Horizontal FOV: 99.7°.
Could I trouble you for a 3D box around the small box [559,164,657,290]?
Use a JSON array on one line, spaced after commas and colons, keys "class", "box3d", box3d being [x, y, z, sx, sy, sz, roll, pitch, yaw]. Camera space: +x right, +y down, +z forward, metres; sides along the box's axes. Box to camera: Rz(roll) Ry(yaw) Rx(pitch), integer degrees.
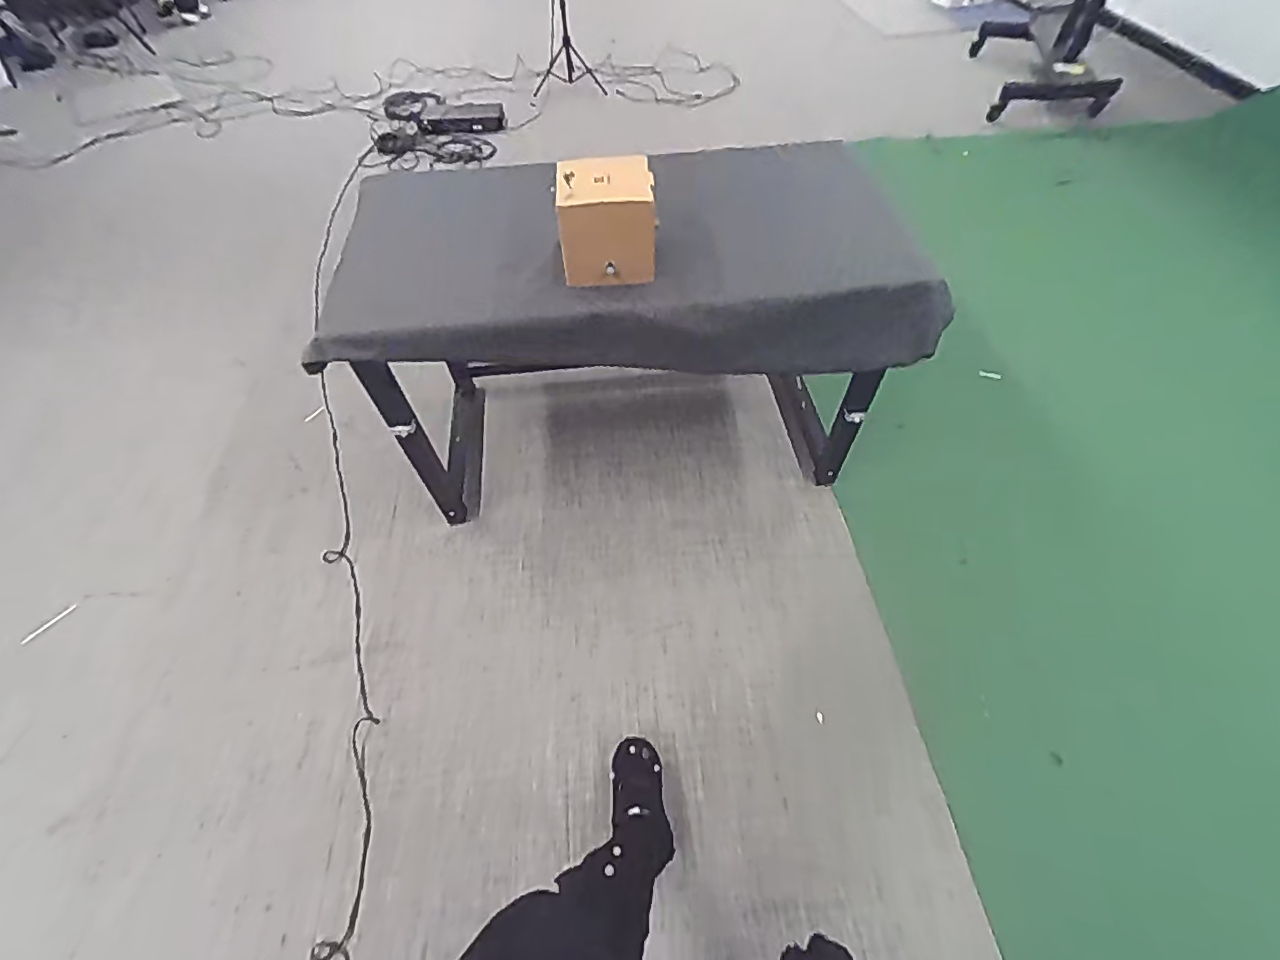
[{"class": "small box", "box3d": [-0.061, -0.494, 1.065, 0.179, 0.176, 0.168, -4, 54, -2]}]
